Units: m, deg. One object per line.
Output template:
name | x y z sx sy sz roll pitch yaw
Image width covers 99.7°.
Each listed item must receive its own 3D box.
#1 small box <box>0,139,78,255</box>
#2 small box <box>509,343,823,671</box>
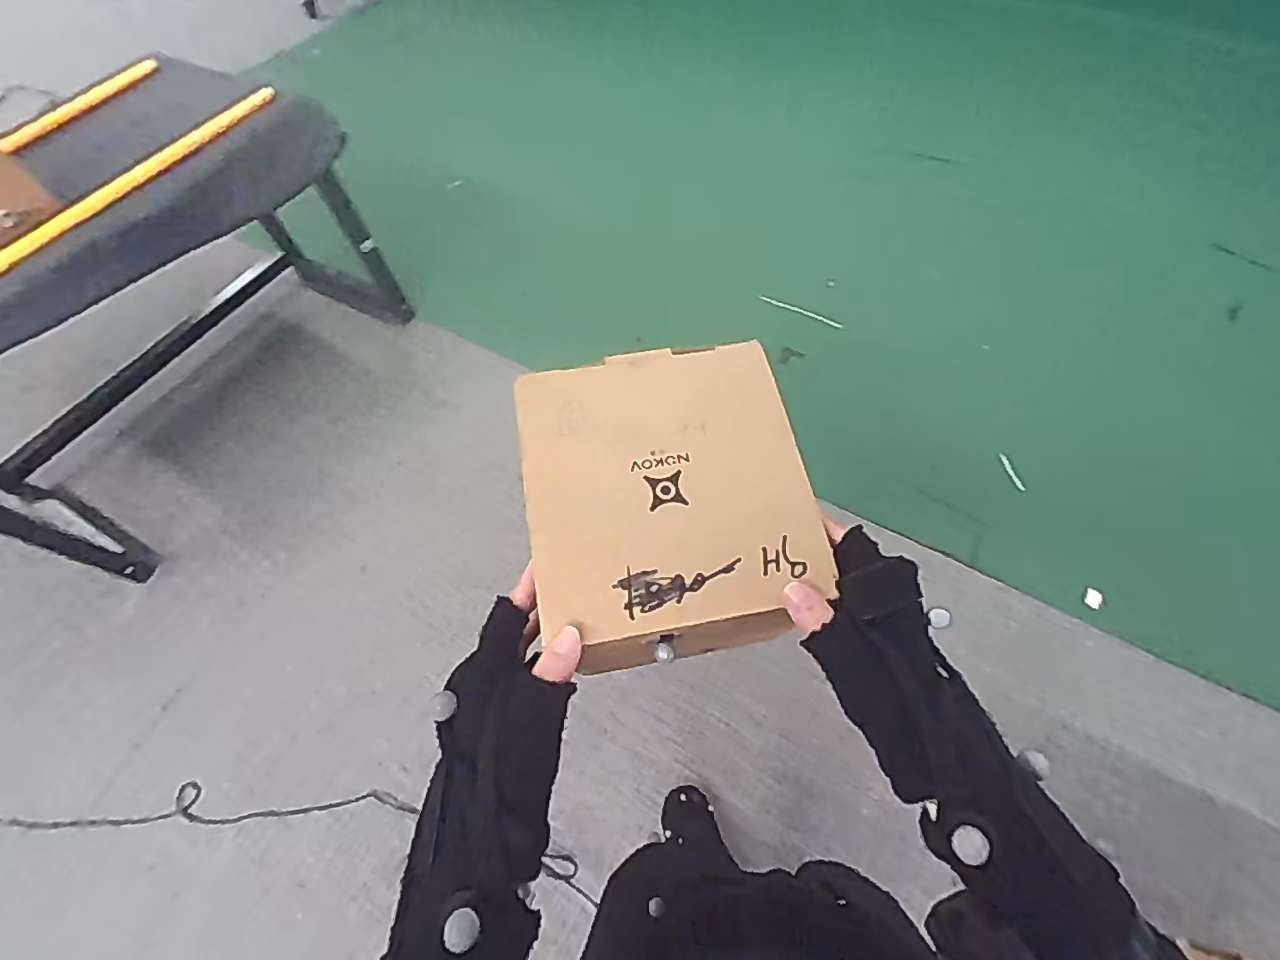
small box | -1.353 -0.597 1.117 0.179 0.176 0.168 25 67 16
small box | 0.008 0.030 0.399 0.168 0.176 0.179 -11 66 -3
